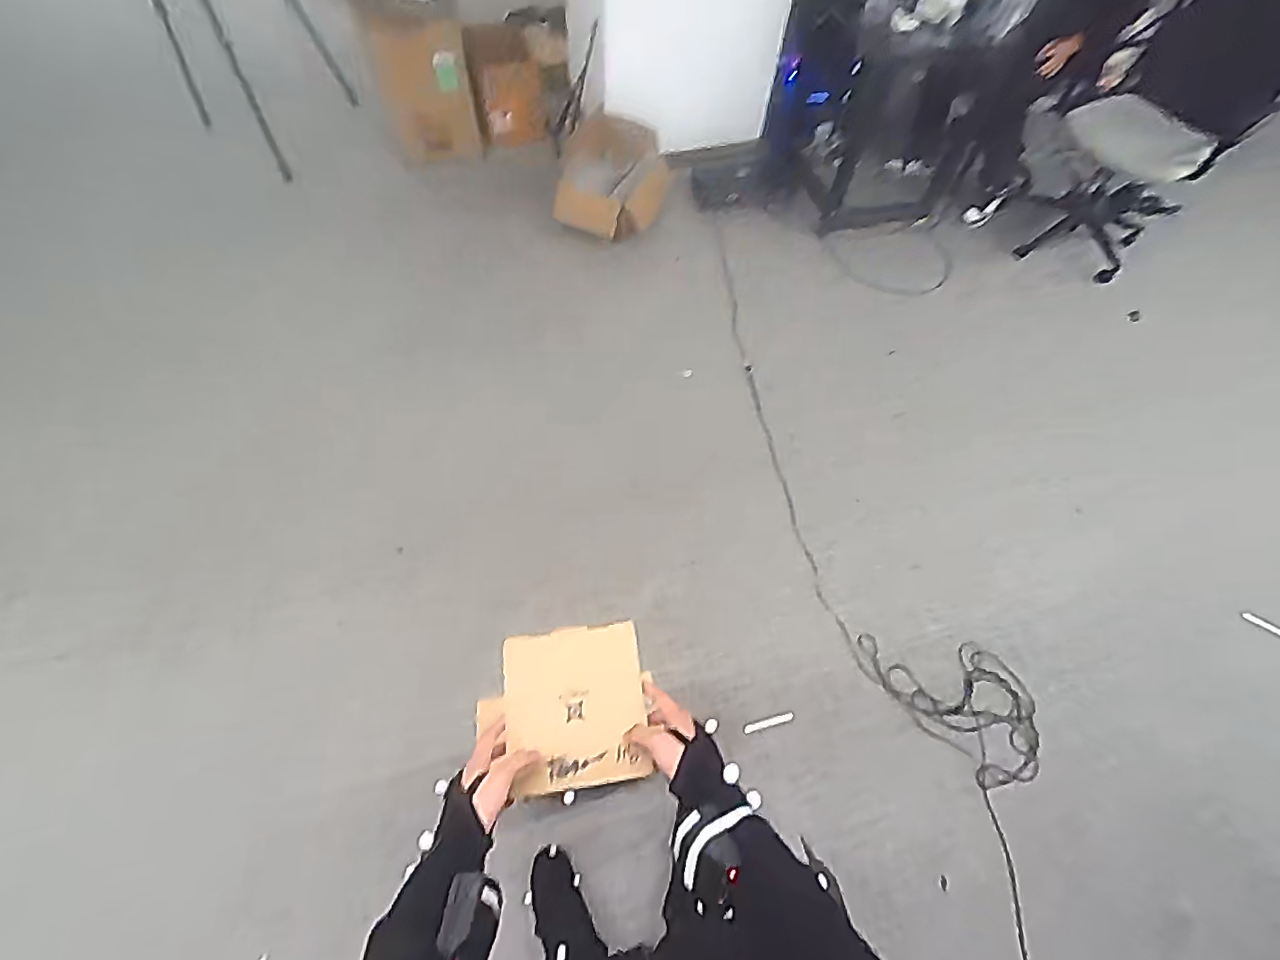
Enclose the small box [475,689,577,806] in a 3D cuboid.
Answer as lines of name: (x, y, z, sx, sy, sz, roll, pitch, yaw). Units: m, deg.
small box: (-0.214, 0.518, 1.042, 0.168, 0.176, 0.179, -6, 60, -5)
